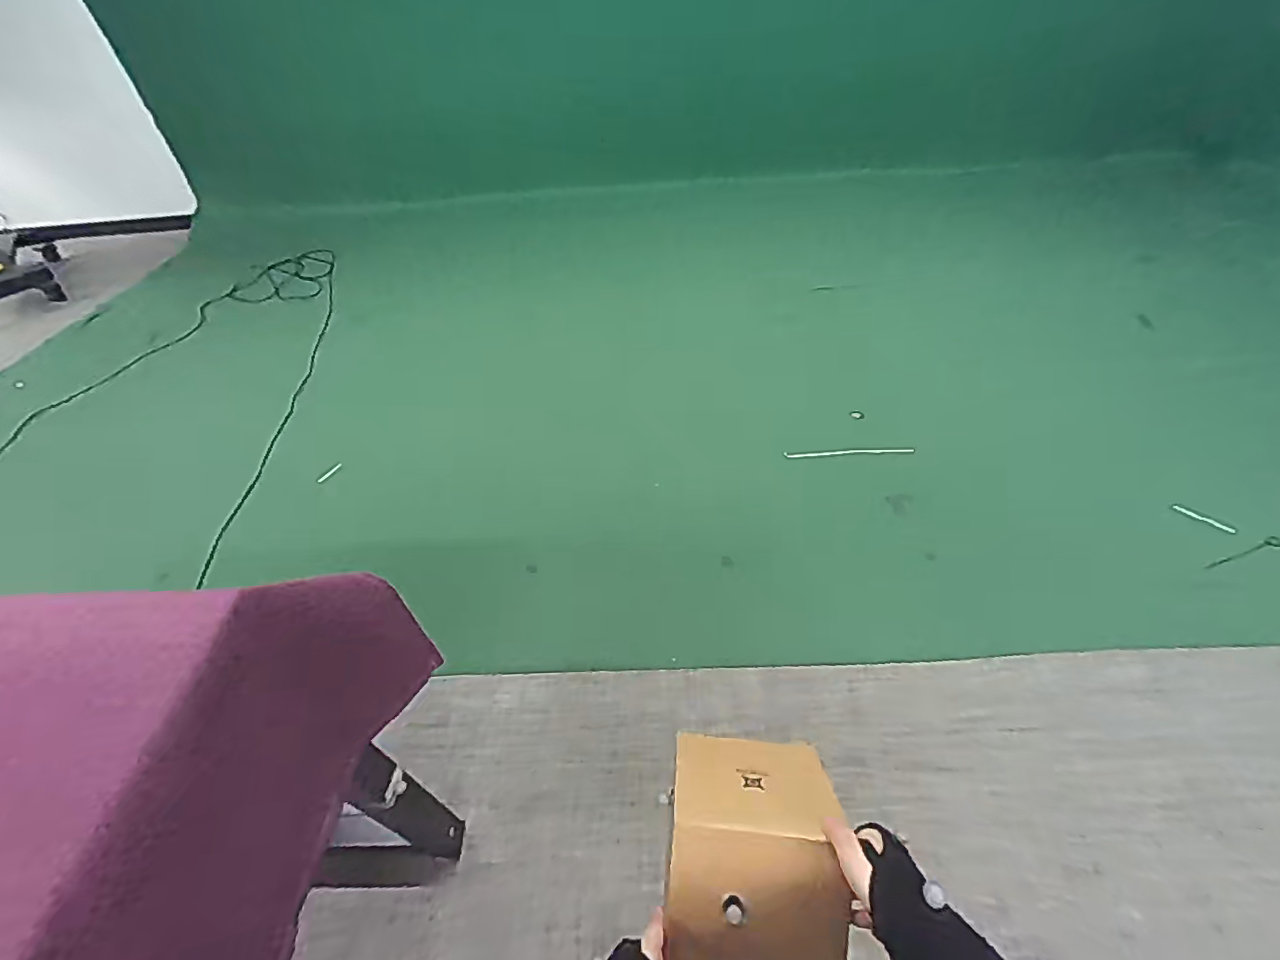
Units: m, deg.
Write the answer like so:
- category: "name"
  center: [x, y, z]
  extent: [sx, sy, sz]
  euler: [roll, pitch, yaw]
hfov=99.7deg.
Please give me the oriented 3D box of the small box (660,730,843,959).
- category: "small box"
  center: [0.110, 0.401, 0.586]
  extent: [0.168, 0.179, 0.176]
  euler: [4, 91, 4]
